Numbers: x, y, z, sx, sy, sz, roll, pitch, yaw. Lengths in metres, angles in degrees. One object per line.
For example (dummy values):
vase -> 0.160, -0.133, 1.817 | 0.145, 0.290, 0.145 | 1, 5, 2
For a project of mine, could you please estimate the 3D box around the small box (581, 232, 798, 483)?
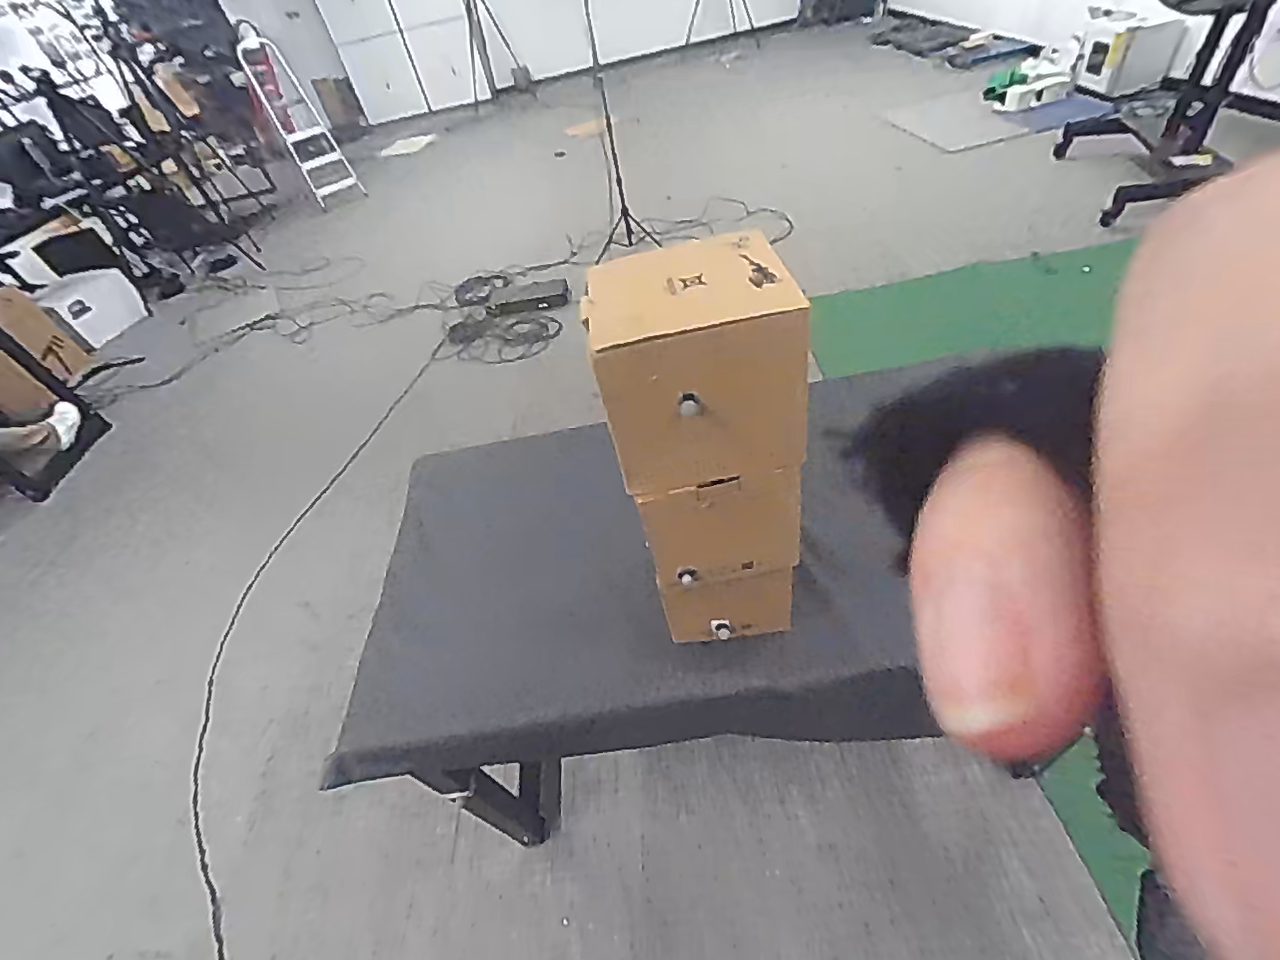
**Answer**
small box -> 0.049, -0.118, 0.540 | 0.179, 0.176, 0.168 | -13, 43, 2

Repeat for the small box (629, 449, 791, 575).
small box -> 0.076, -0.005, 0.651 | 0.168, 0.176, 0.179 | -15, 46, 1

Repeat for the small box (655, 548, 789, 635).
small box -> 0.110, 0.097, 0.776 | 0.168, 0.176, 0.179 | -10, 46, 6
